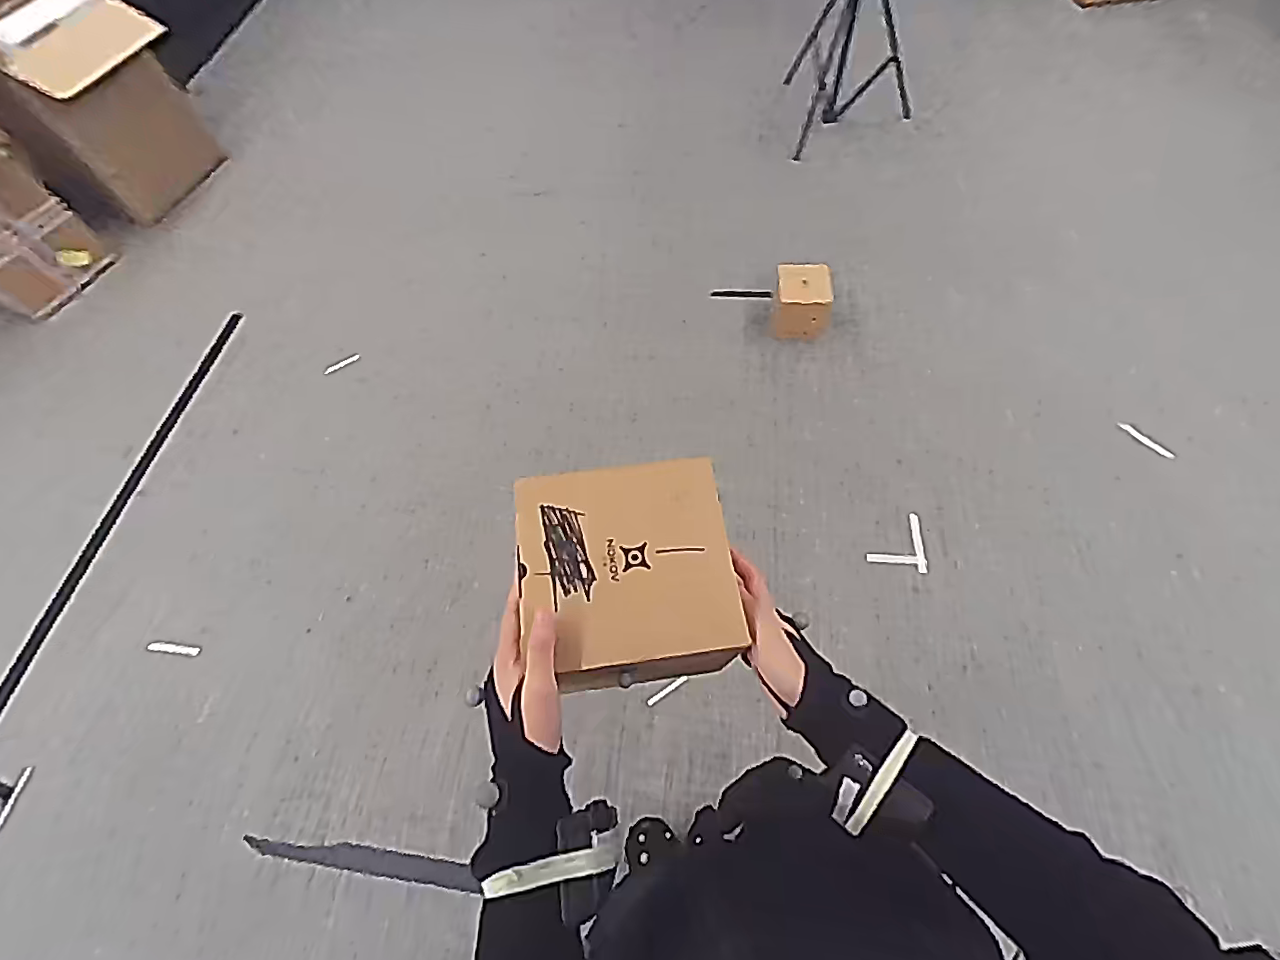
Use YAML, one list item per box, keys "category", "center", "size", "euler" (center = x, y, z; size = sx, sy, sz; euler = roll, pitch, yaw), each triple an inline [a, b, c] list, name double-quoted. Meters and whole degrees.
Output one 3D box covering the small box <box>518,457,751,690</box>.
- category: "small box"
  center: [-0.010, 0.096, 0.509]
  size: [0.179, 0.176, 0.168]
  euler: [-6, 64, -4]
